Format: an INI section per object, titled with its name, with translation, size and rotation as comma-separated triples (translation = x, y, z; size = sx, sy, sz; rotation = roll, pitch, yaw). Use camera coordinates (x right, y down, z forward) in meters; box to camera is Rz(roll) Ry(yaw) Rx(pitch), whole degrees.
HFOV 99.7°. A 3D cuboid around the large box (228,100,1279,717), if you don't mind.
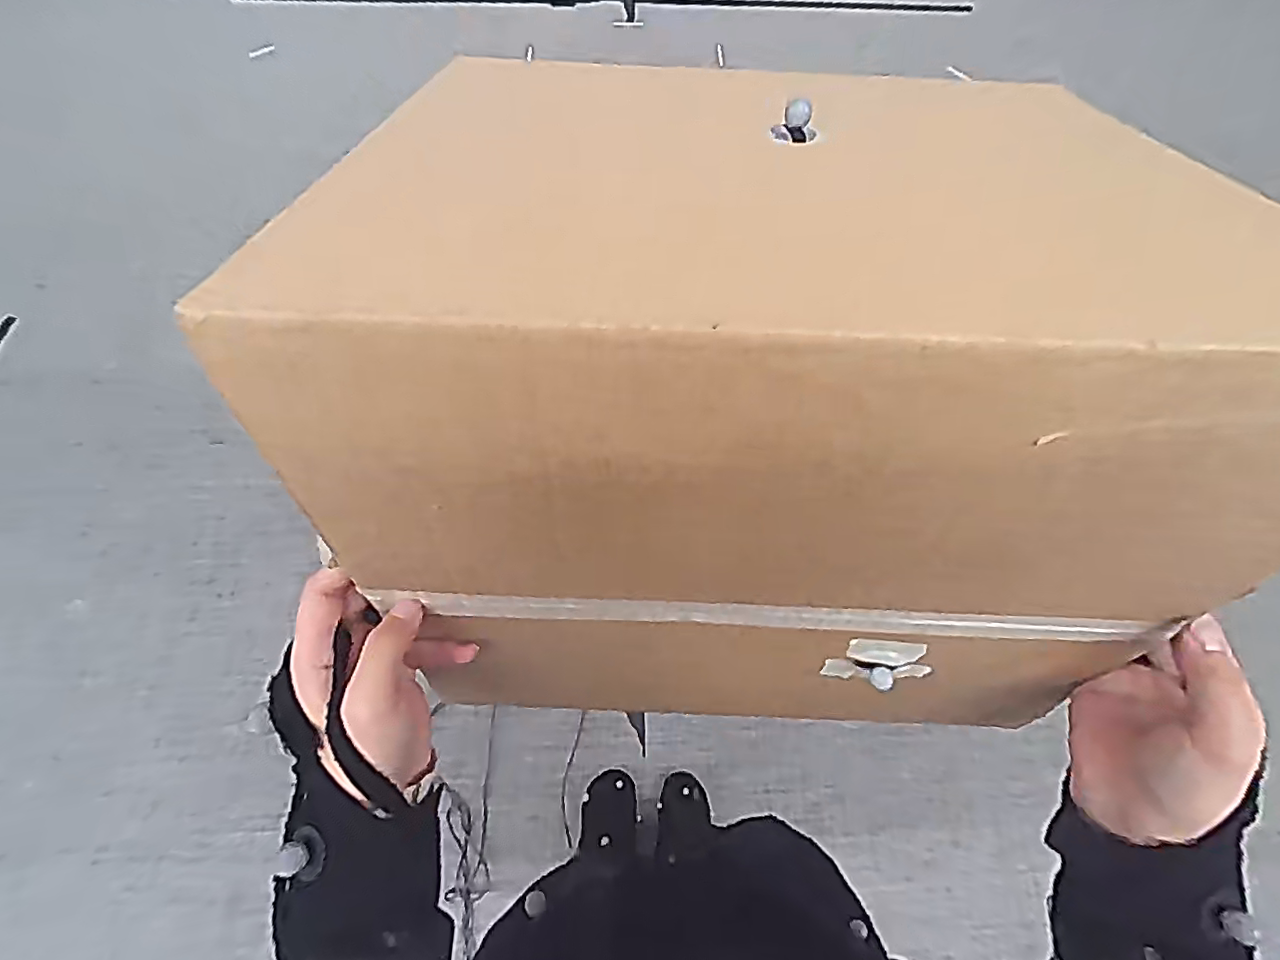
[large box]
translation = 0.065, -0.046, 0.377
size = 0.408, 0.320, 0.320
rotation = 1, 49, 0
